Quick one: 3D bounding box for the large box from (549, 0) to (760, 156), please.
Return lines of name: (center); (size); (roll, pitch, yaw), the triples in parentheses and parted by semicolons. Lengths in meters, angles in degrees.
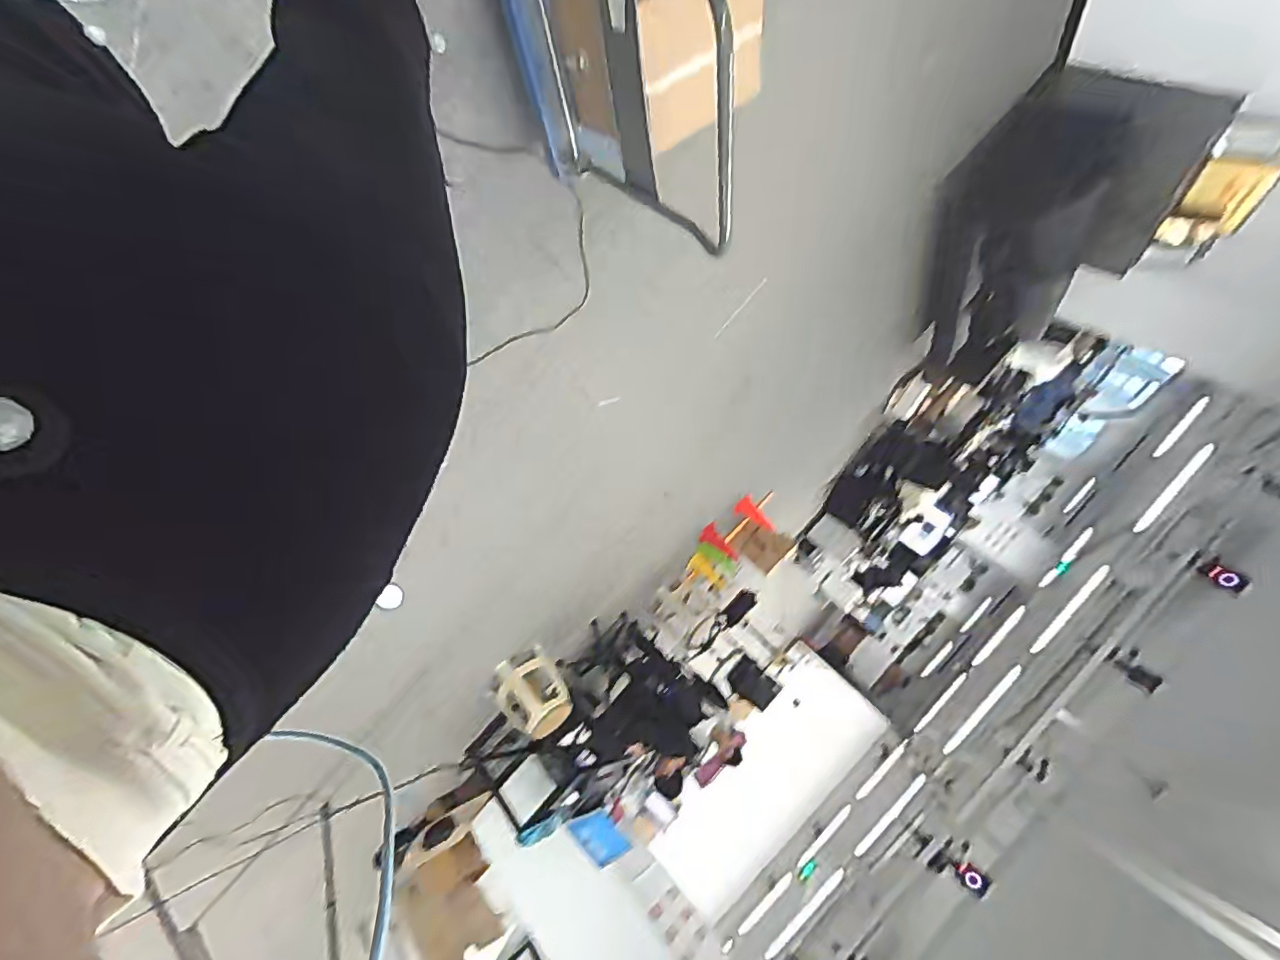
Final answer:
large box: (0.048, -1.104, 1.362); (0.408, 0.320, 0.320); (-40, 150, -16)
